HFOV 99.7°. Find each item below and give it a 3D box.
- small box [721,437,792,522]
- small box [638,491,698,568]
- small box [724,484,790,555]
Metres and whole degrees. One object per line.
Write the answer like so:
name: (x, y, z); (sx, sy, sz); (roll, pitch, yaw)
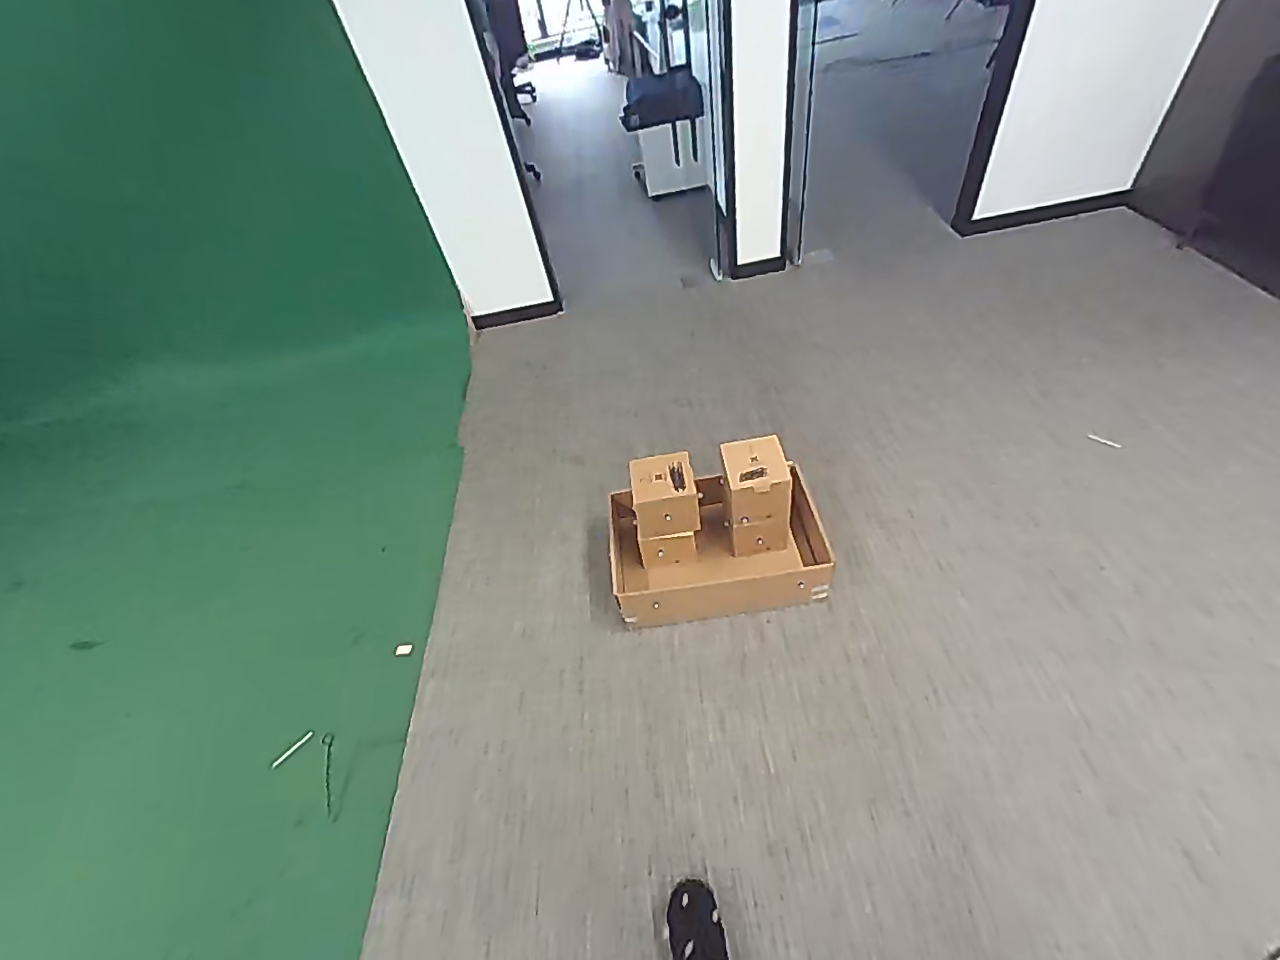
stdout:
small box: (0.332, 0.007, 1.546); (0.168, 0.176, 0.179); (-9, 48, 4)
small box: (0.089, 0.161, 1.685); (0.168, 0.176, 0.179); (-6, 48, 5)
small box: (0.358, 0.116, 1.667); (0.168, 0.176, 0.179); (-9, 48, 3)
